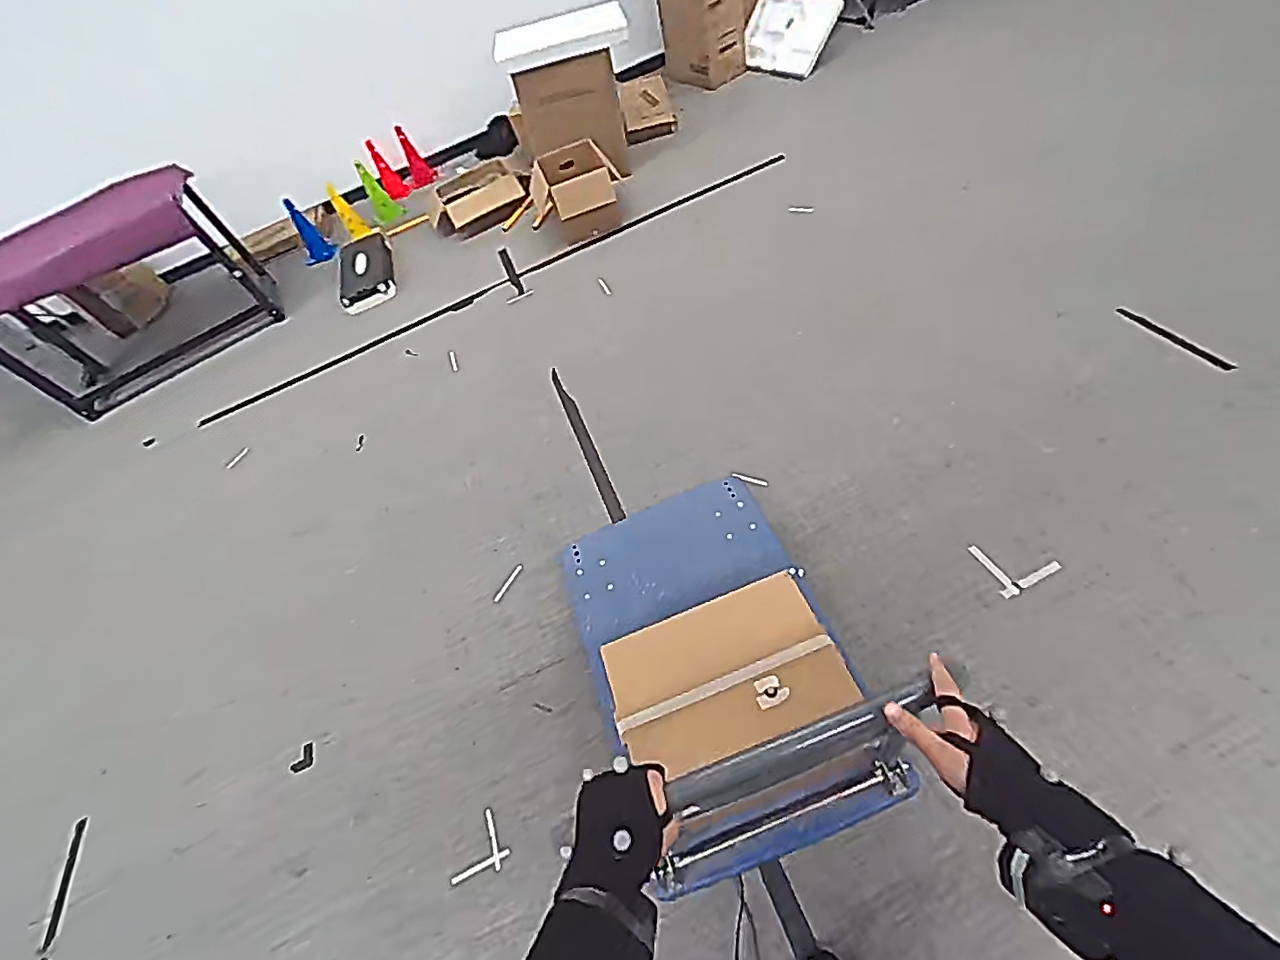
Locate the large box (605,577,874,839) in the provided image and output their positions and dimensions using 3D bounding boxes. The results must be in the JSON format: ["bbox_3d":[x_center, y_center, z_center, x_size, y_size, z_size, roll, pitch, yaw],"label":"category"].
[{"bbox_3d":[0.190,0.464,1.088,0.408,0.320,0.320,-22,52,-1],"label":"large box"}]
